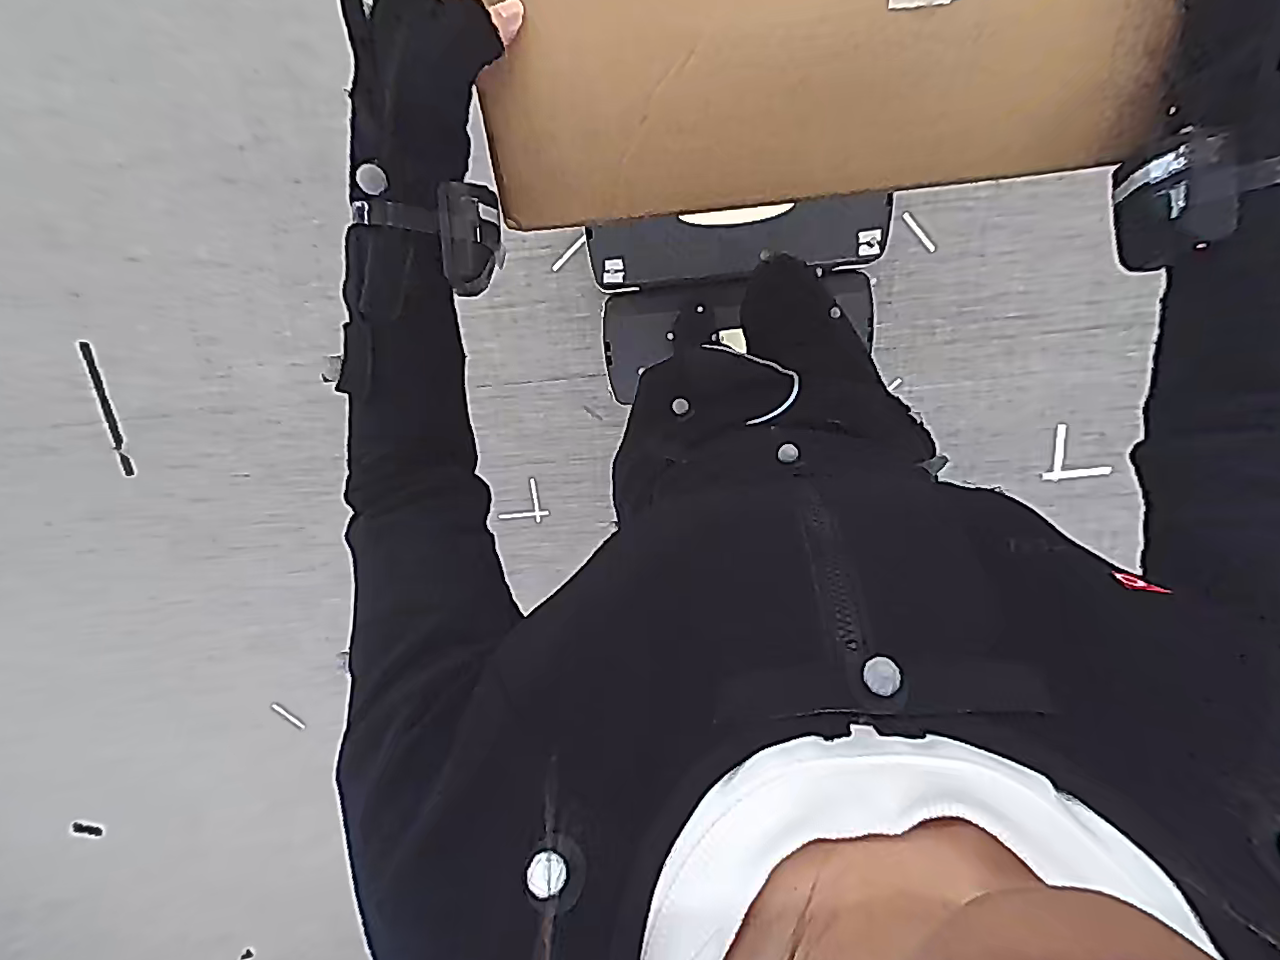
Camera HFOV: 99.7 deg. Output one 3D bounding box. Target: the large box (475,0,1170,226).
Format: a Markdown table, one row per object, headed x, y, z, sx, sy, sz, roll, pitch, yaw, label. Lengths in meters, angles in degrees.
| x | y | z | sx | sy | sz | roll | pitch | yaw | label |
| --- | --- | --- | --- | --- | --- | --- | --- | --- | --- |
| 0.102 | -0.398 | 0.422 | 0.408 | 0.320 | 0.320 | -4 | 118 | 7 | large box |

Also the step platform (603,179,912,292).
| x | y | z | sx | sy | sz | roll | pitch | yaw | label |
| --- | --- | --- | --- | --- | --- | --- | --- | --- | --- |
| 0.253 | -0.621 | 1.256 | 0.684 | 0.204 | 0.286 | -5 | 108 | 5 | step platform |
